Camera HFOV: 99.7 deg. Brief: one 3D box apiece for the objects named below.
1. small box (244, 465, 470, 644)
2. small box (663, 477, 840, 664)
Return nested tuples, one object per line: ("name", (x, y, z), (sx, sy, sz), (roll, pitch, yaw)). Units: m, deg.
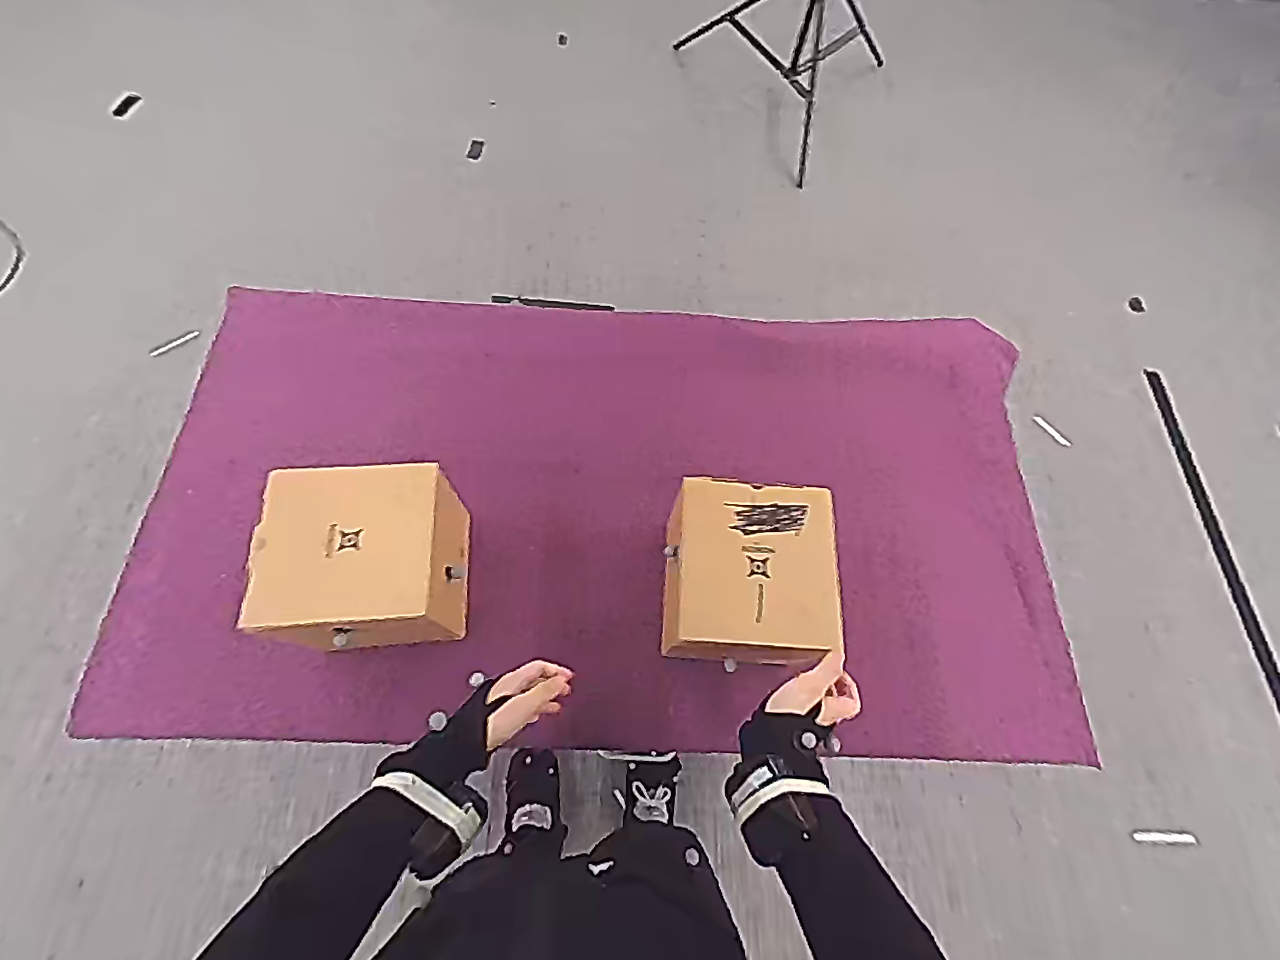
("small box", (-0.301, 0.092, 0.624), (0.179, 0.176, 0.168), (-3, 67, -5))
("small box", (0.118, 0.114, 0.640), (0.168, 0.176, 0.179), (4, 67, -1))
